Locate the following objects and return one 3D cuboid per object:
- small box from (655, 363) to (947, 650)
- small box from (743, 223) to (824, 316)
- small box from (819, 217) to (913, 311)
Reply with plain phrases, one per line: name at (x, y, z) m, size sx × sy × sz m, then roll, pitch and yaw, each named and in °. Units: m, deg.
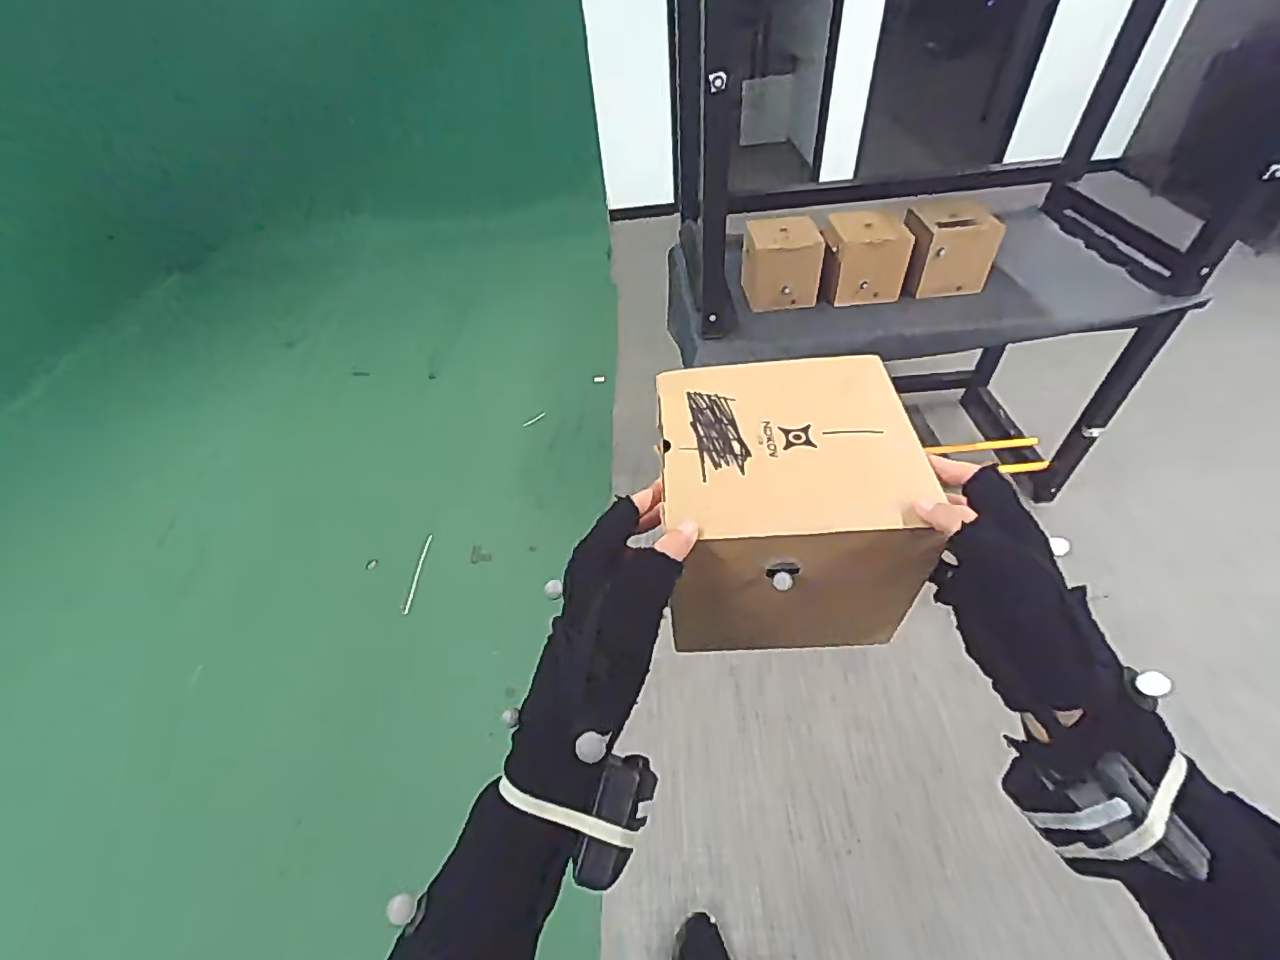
small box at (0.107, 0.027, 0.439) m, size 0.179 × 0.176 × 0.168 m, roll -3°, pitch 49°, yaw 3°
small box at (0.365, -0.548, 1.411) m, size 0.168 × 0.176 × 0.179 m, roll -5°, pitch 46°, yaw 2°
small box at (0.572, -0.559, 1.402) m, size 0.168 × 0.176 × 0.179 m, roll -5°, pitch 46°, yaw 2°
